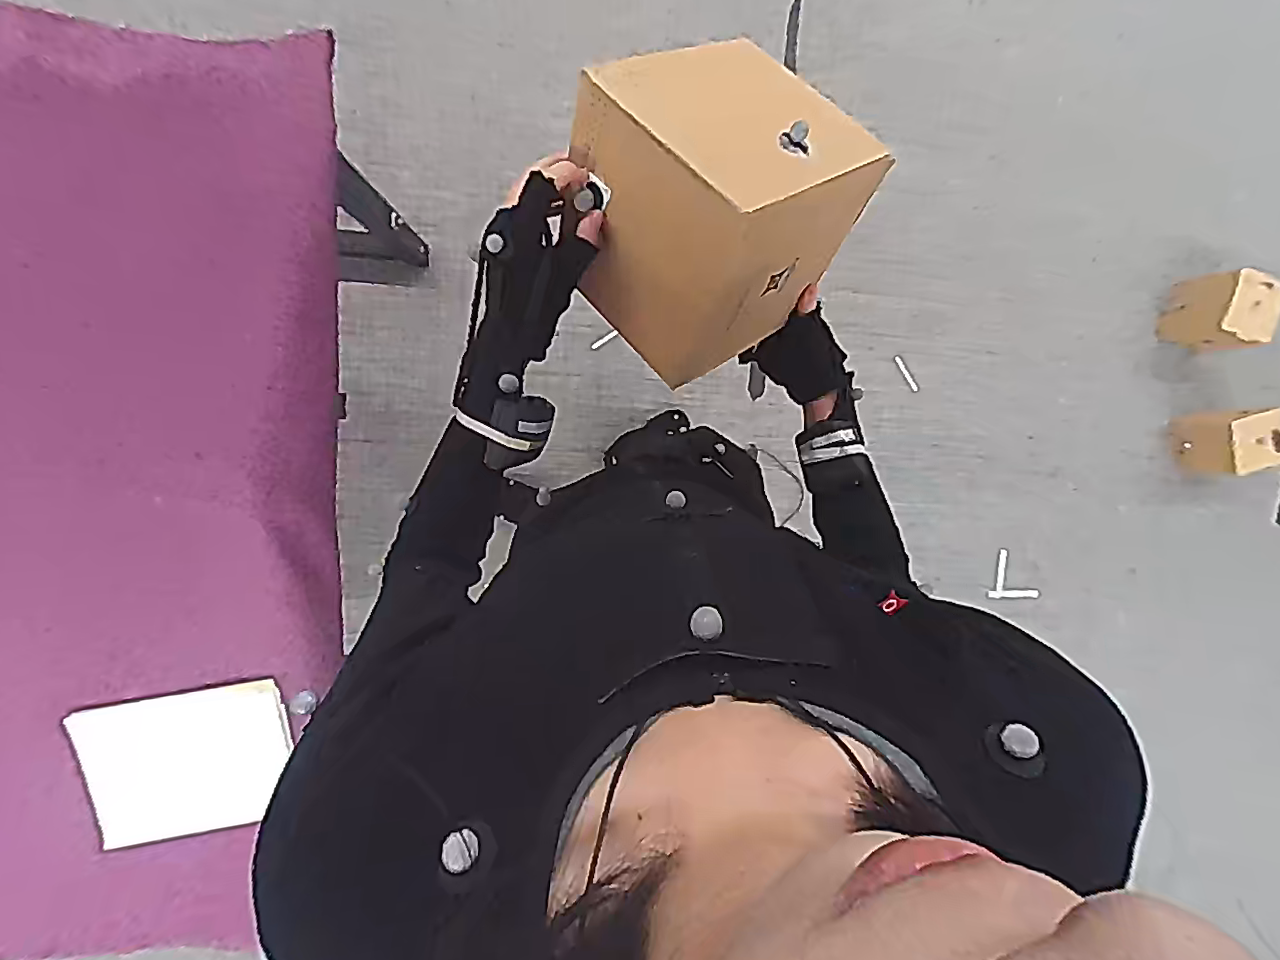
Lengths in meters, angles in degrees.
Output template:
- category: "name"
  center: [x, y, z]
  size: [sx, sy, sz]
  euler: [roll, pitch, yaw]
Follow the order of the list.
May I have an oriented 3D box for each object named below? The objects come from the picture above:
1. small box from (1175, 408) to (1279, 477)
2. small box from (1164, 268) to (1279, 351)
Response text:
- category: "small box"
  center: [1.781, -0.118, 1.627]
  size: [0.179, 0.176, 0.168]
  euler: [-16, 99, -4]
- category: "small box"
  center: [1.698, -0.486, 1.574]
  size: [0.168, 0.176, 0.179]
  euler: [16, 95, -8]
